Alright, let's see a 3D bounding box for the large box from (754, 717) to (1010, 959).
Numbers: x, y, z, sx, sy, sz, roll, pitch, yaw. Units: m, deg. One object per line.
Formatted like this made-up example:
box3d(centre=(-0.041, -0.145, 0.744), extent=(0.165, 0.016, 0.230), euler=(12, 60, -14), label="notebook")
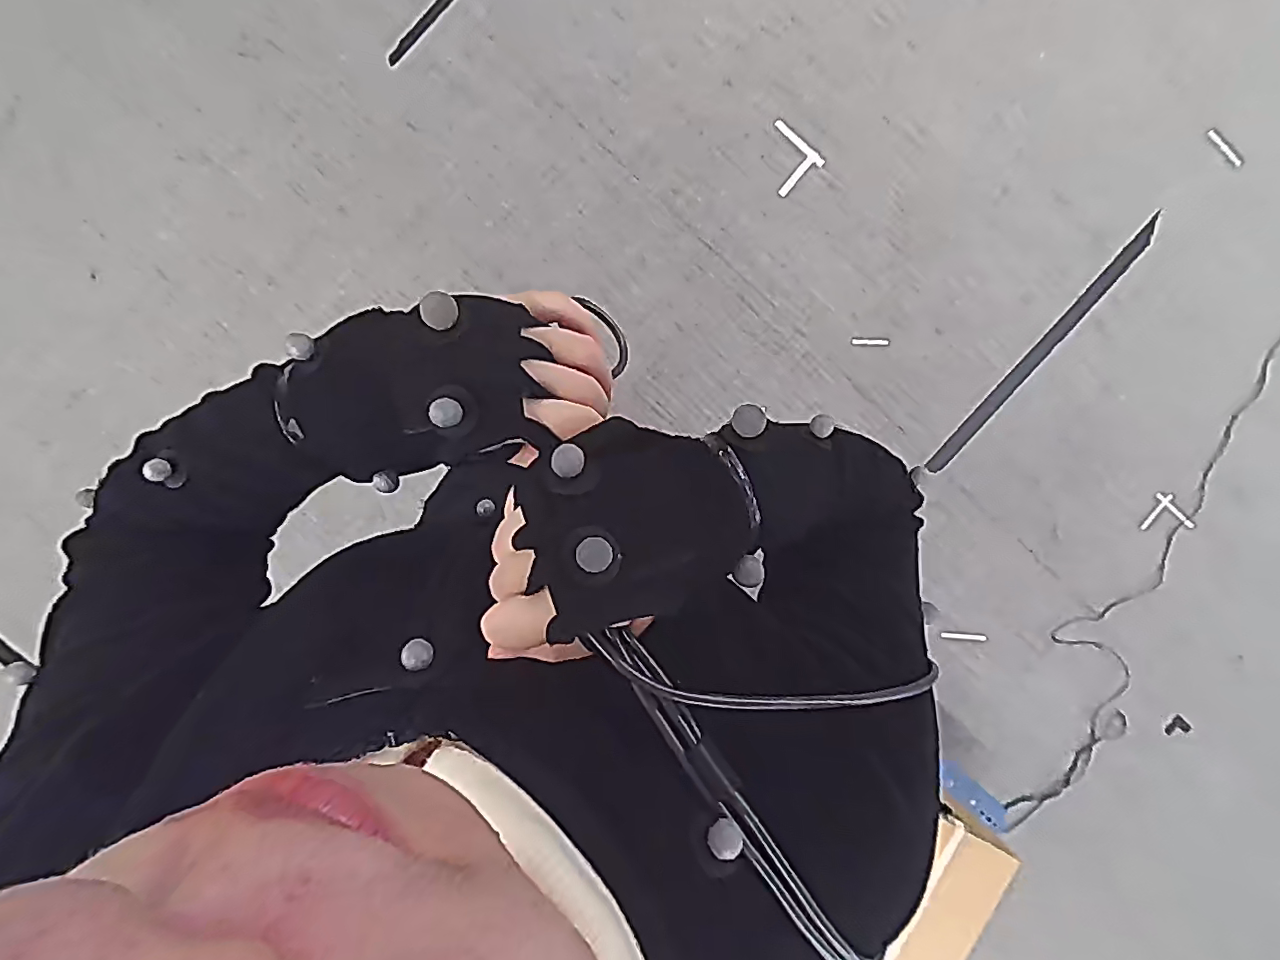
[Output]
box3d(centre=(0.524, 0.848, 1.244), extent=(0.320, 0.320, 0.408), euler=(30, 91, -4), label="large box")
